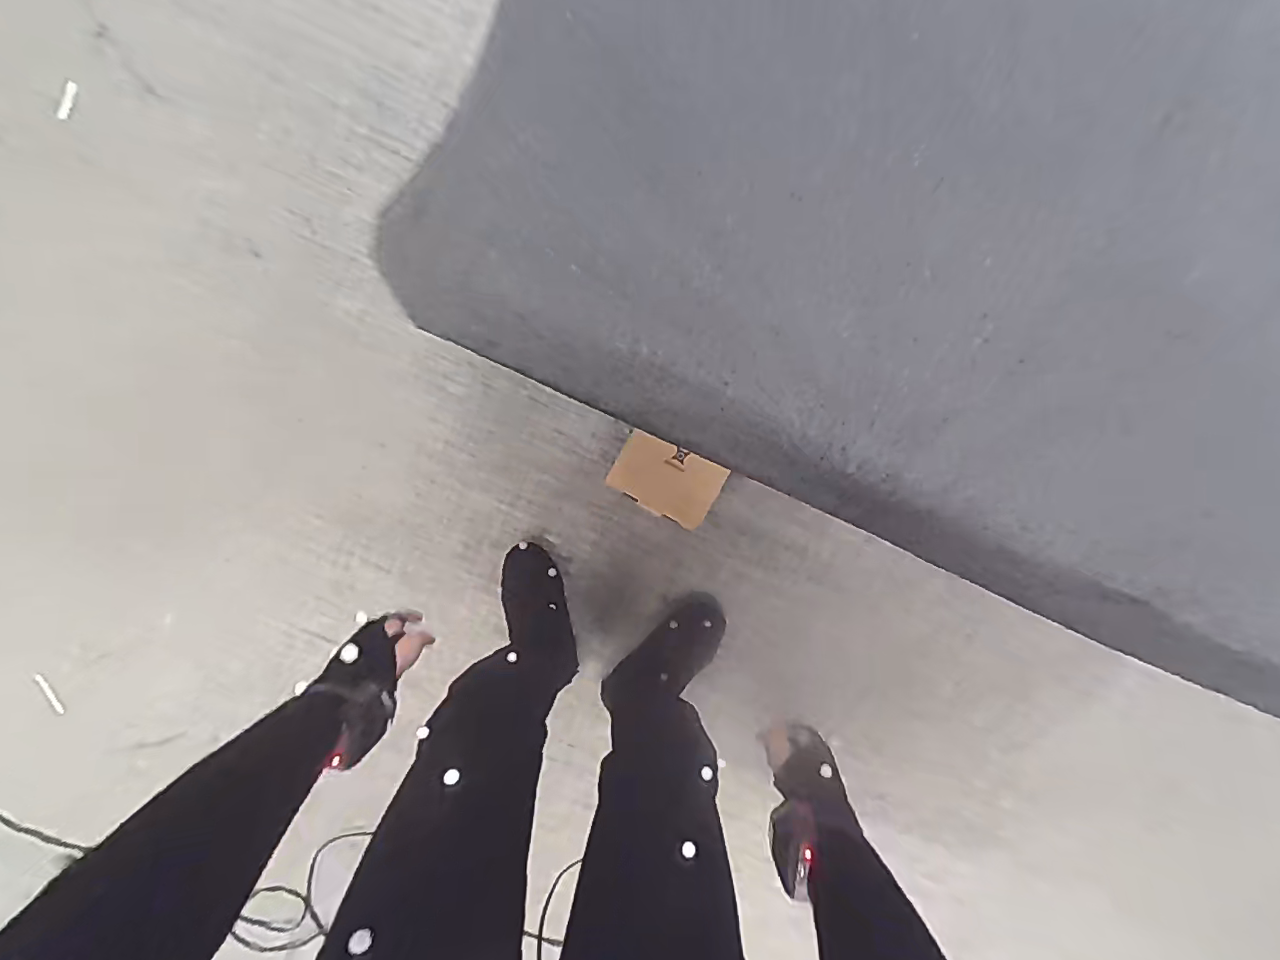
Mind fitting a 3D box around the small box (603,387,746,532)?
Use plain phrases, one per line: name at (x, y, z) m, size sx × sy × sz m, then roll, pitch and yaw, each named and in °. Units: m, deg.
small box at (0.055, -0.038, 0.914) m, size 0.168 × 0.176 × 0.179 m, roll 28°, pitch 96°, yaw -3°
